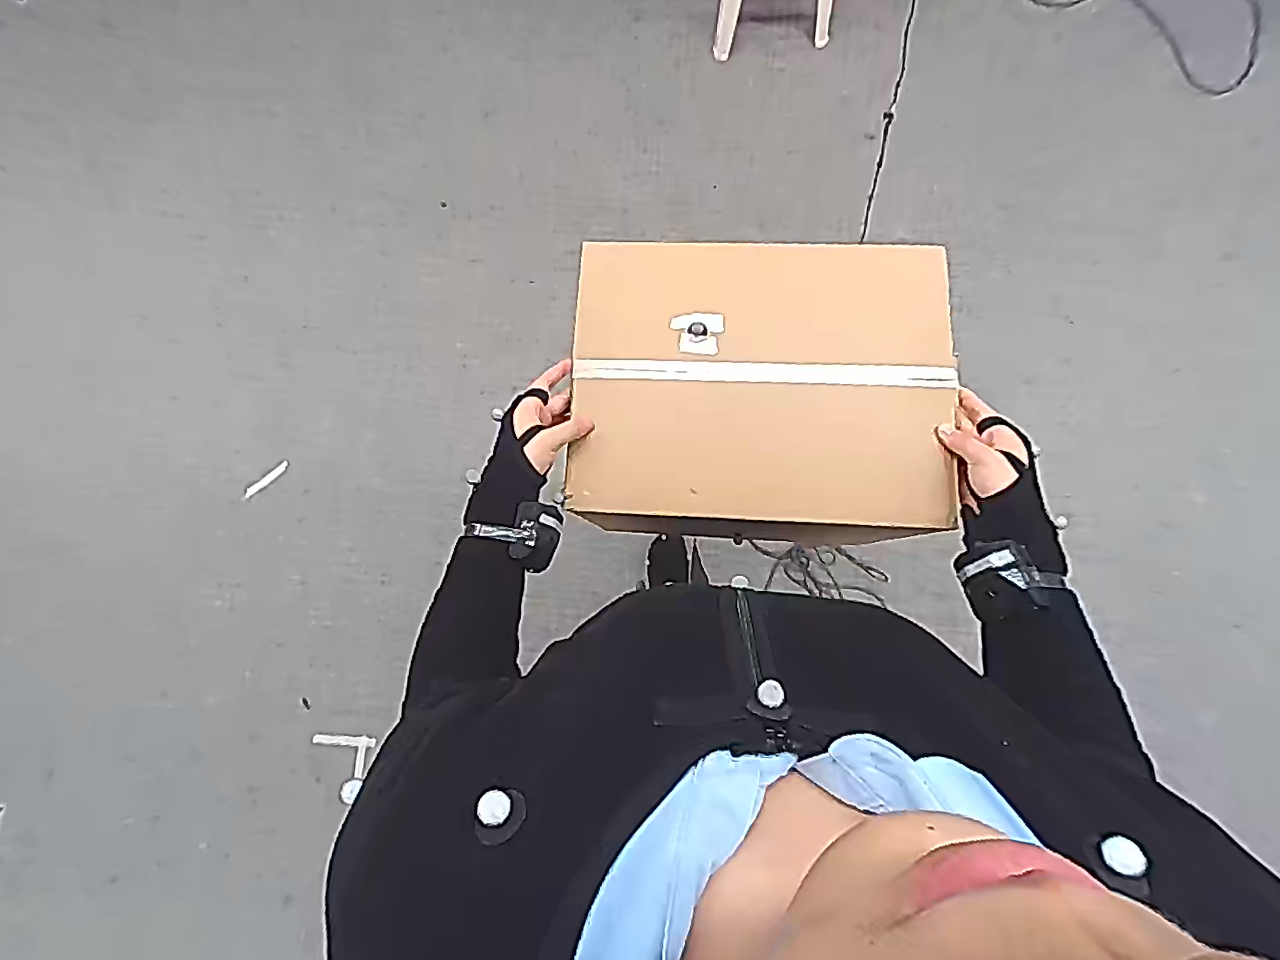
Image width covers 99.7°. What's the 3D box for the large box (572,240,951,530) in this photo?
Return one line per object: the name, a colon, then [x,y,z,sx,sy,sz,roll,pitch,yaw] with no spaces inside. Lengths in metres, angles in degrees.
large box: [0.140,-0.096,0.741,0.408,0.320,0.320,1,80,5]
